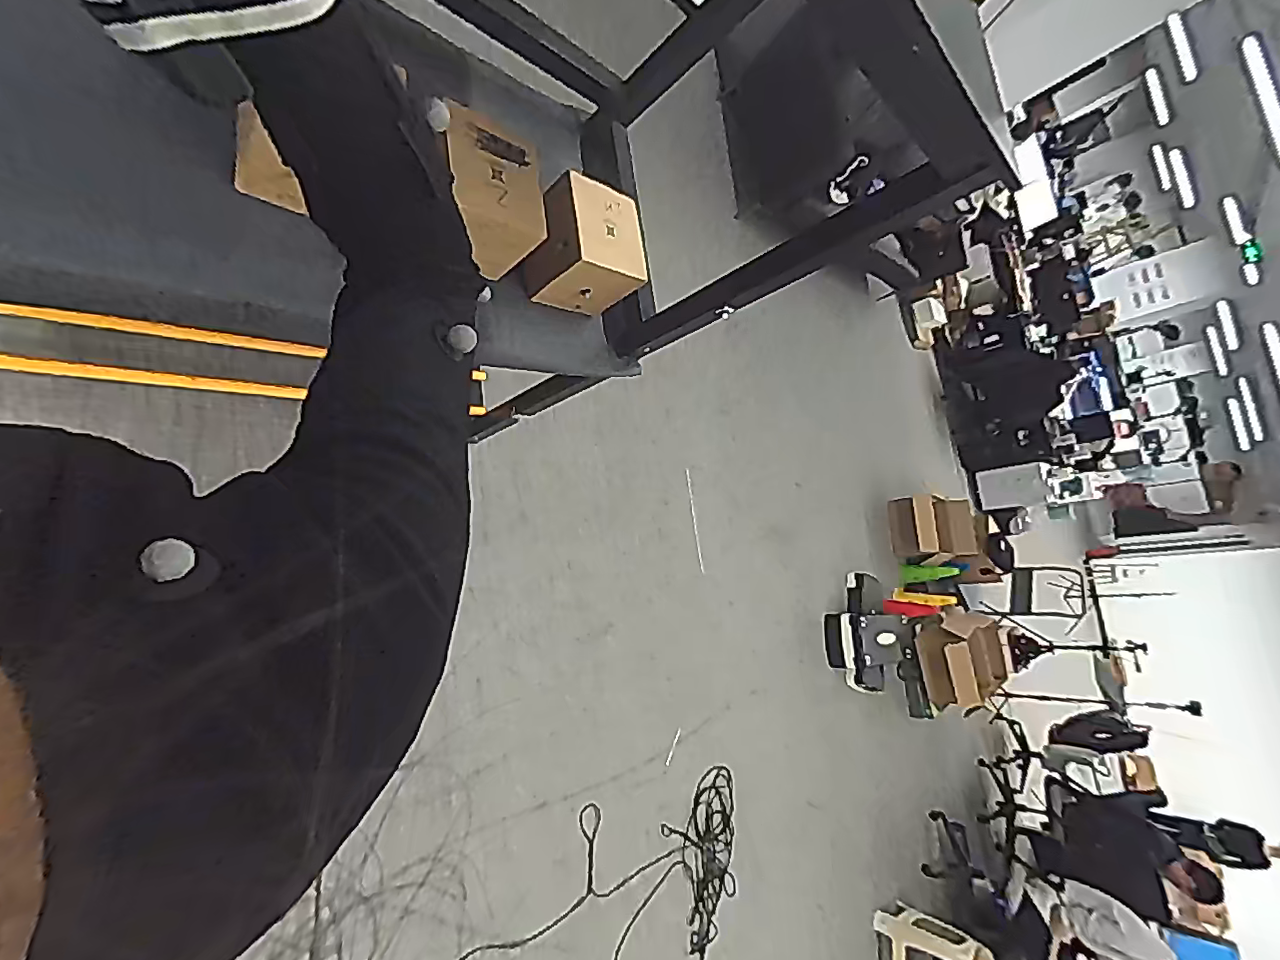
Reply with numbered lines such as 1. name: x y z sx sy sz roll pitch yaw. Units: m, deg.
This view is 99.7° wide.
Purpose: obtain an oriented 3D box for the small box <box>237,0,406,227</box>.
1. small box: -0.438 -0.488 0.744 0.168 0.176 0.179 5 75 -45

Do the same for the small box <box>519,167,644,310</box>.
1. small box: -0.117 -0.455 1.055 0.168 0.176 0.179 -2 80 -46
